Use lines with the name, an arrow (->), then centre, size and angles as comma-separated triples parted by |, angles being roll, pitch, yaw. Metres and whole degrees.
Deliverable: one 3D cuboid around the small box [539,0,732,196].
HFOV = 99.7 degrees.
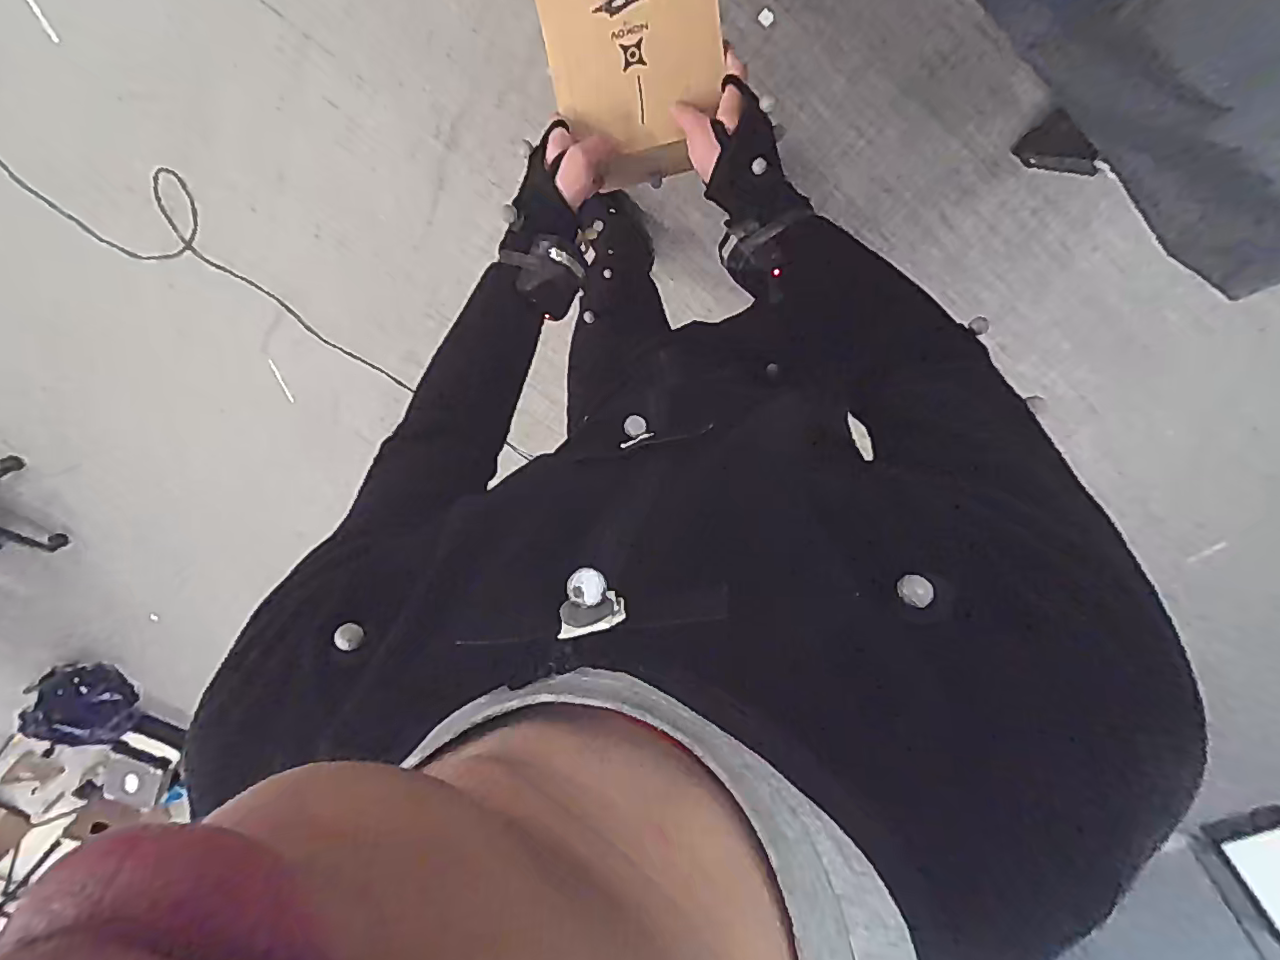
small box -> 0.004, -0.431, 0.585 | 0.168, 0.176, 0.179 | -8, 108, 10
